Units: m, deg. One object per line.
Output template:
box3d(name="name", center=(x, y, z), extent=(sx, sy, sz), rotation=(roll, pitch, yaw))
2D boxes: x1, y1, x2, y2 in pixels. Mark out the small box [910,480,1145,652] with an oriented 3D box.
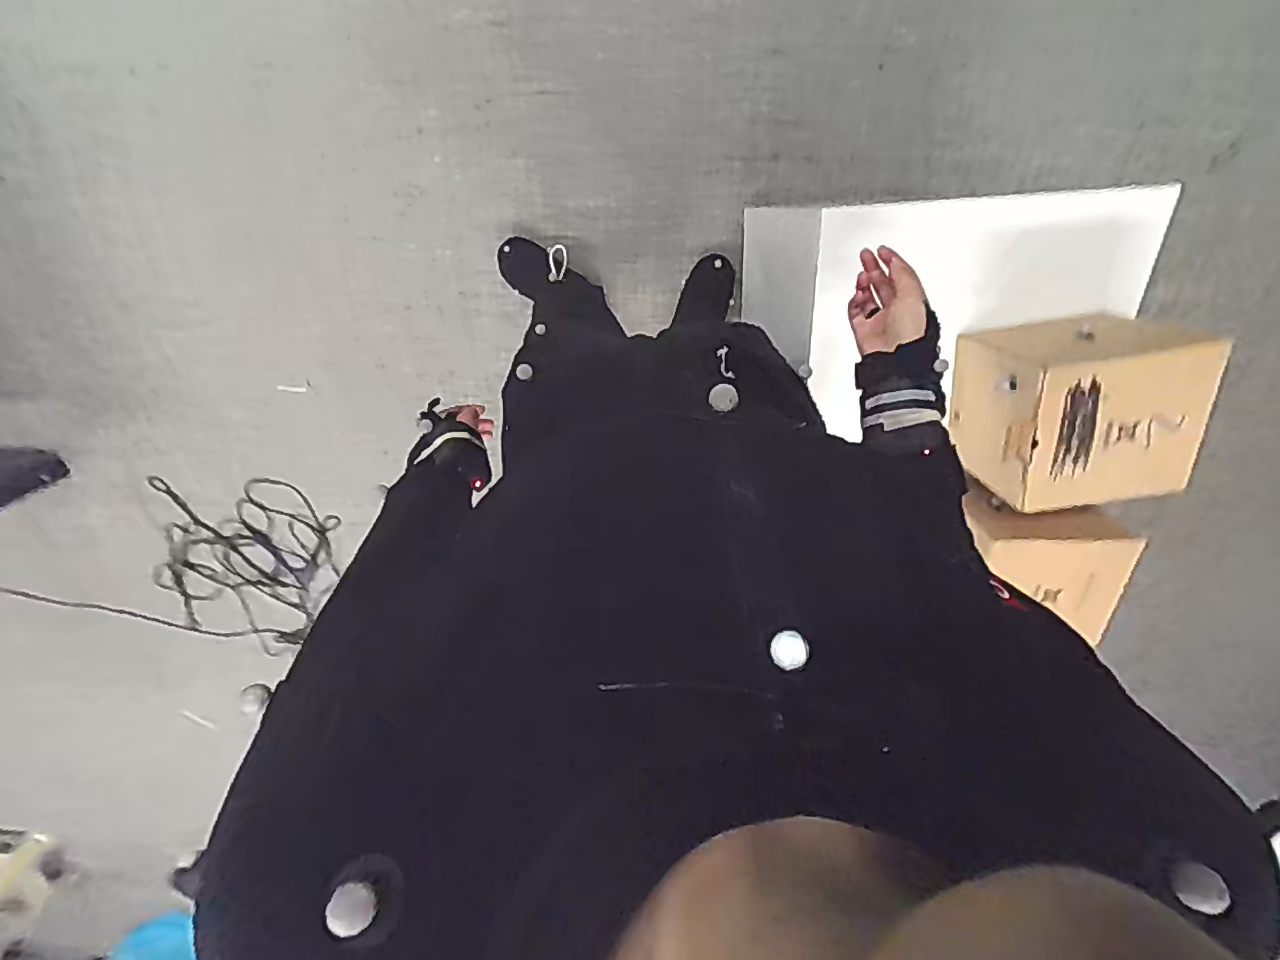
box3d(name="small box", center=(0.493, 0.109, 0.725), extent=(0.179, 0.176, 0.168), rotation=(-1, 117, 1))
